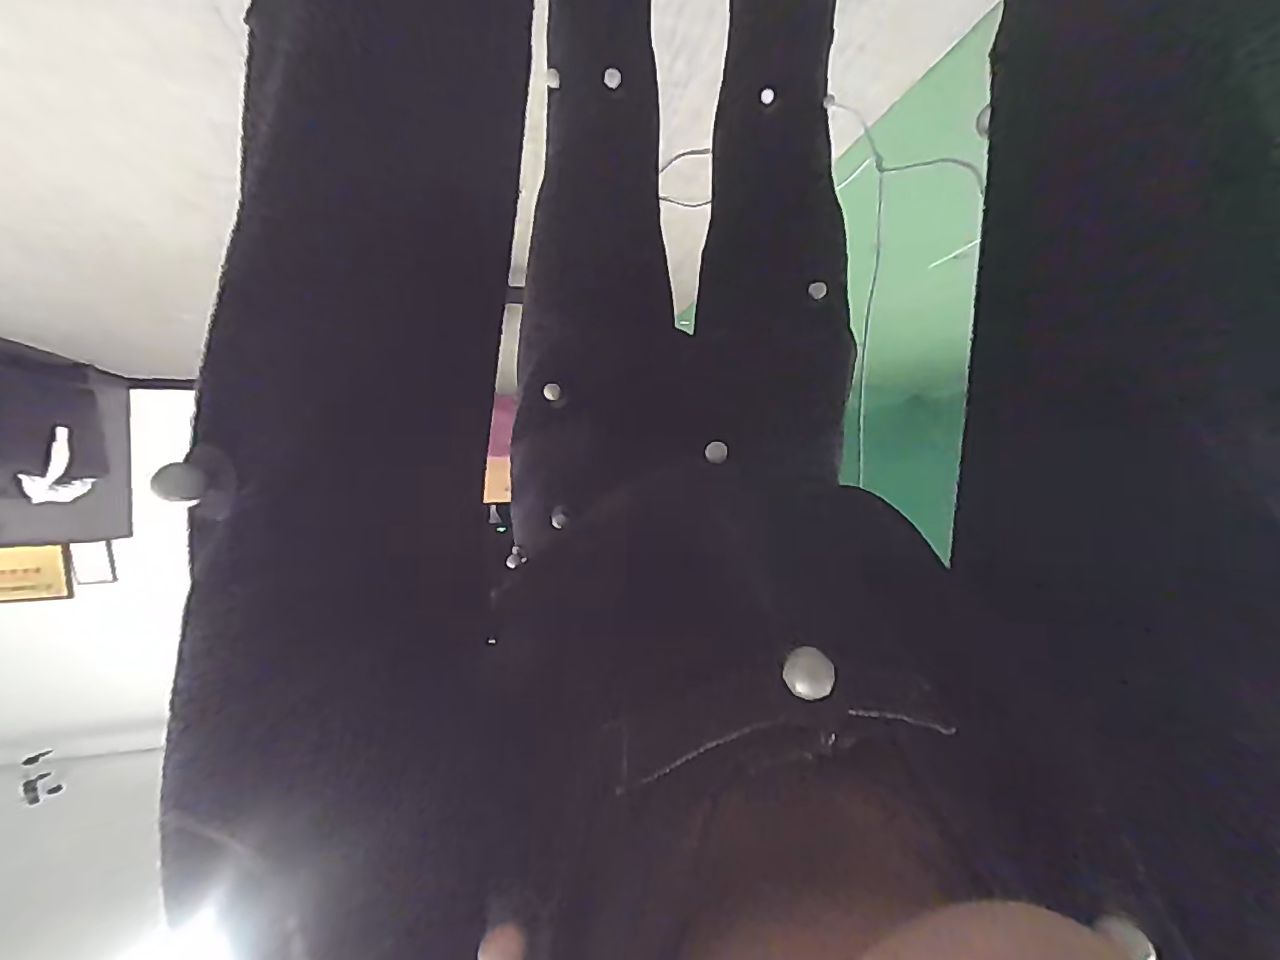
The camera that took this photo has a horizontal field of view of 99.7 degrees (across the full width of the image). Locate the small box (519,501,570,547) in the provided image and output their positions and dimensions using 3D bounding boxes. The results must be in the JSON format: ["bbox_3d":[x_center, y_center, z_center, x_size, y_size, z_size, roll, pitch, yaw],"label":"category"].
[{"bbox_3d":[-0.386,0.173,2.153,0.168,0.176,0.179,0,178,-24],"label":"small box"}]
